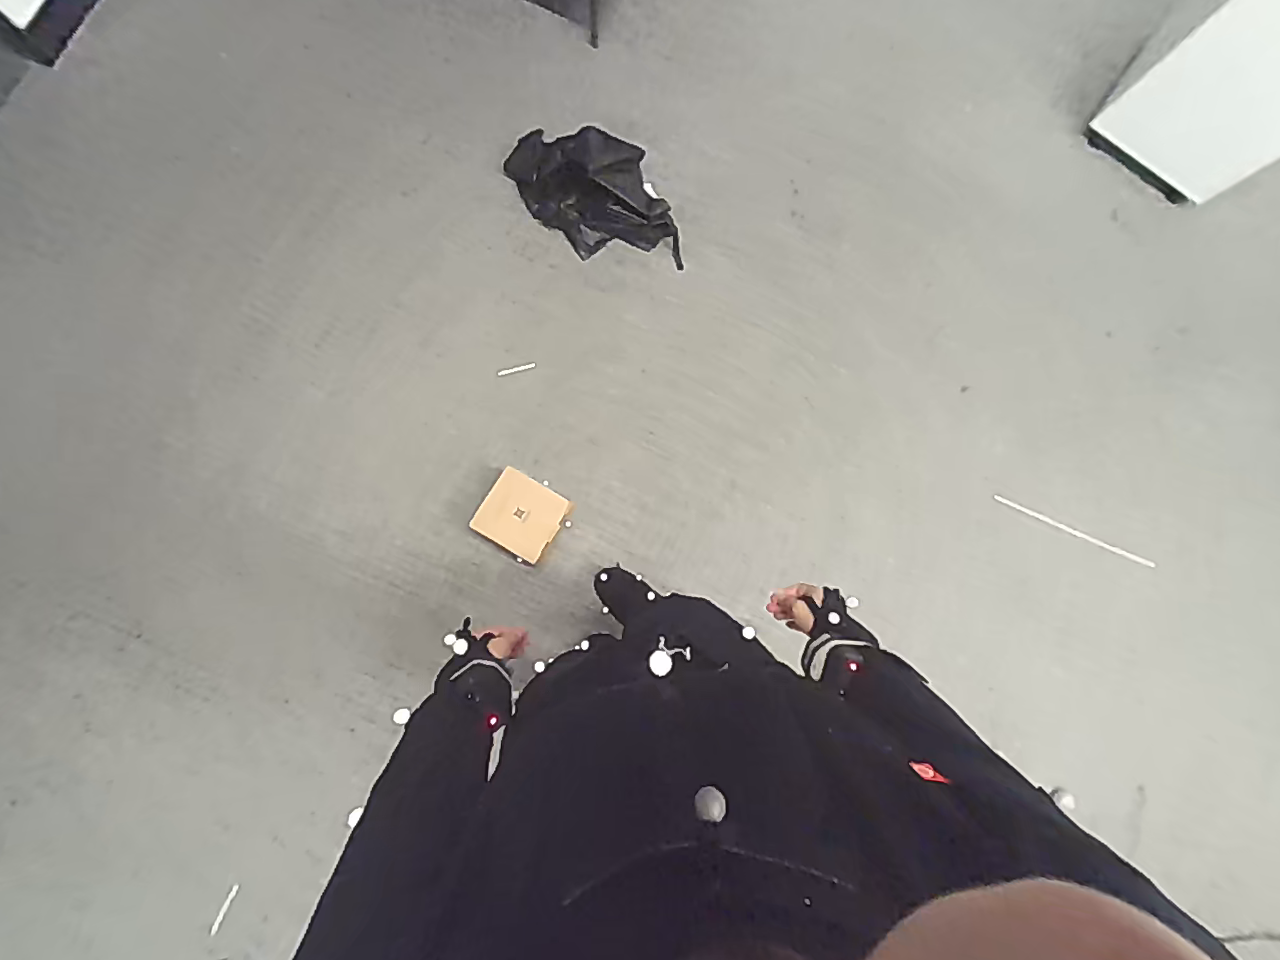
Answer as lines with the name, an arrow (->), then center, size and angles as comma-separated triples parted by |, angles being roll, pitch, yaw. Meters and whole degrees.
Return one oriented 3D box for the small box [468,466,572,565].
small box -> -0.274, 0.088, 1.288 | 0.179, 0.176, 0.168 | 30, 80, 1
